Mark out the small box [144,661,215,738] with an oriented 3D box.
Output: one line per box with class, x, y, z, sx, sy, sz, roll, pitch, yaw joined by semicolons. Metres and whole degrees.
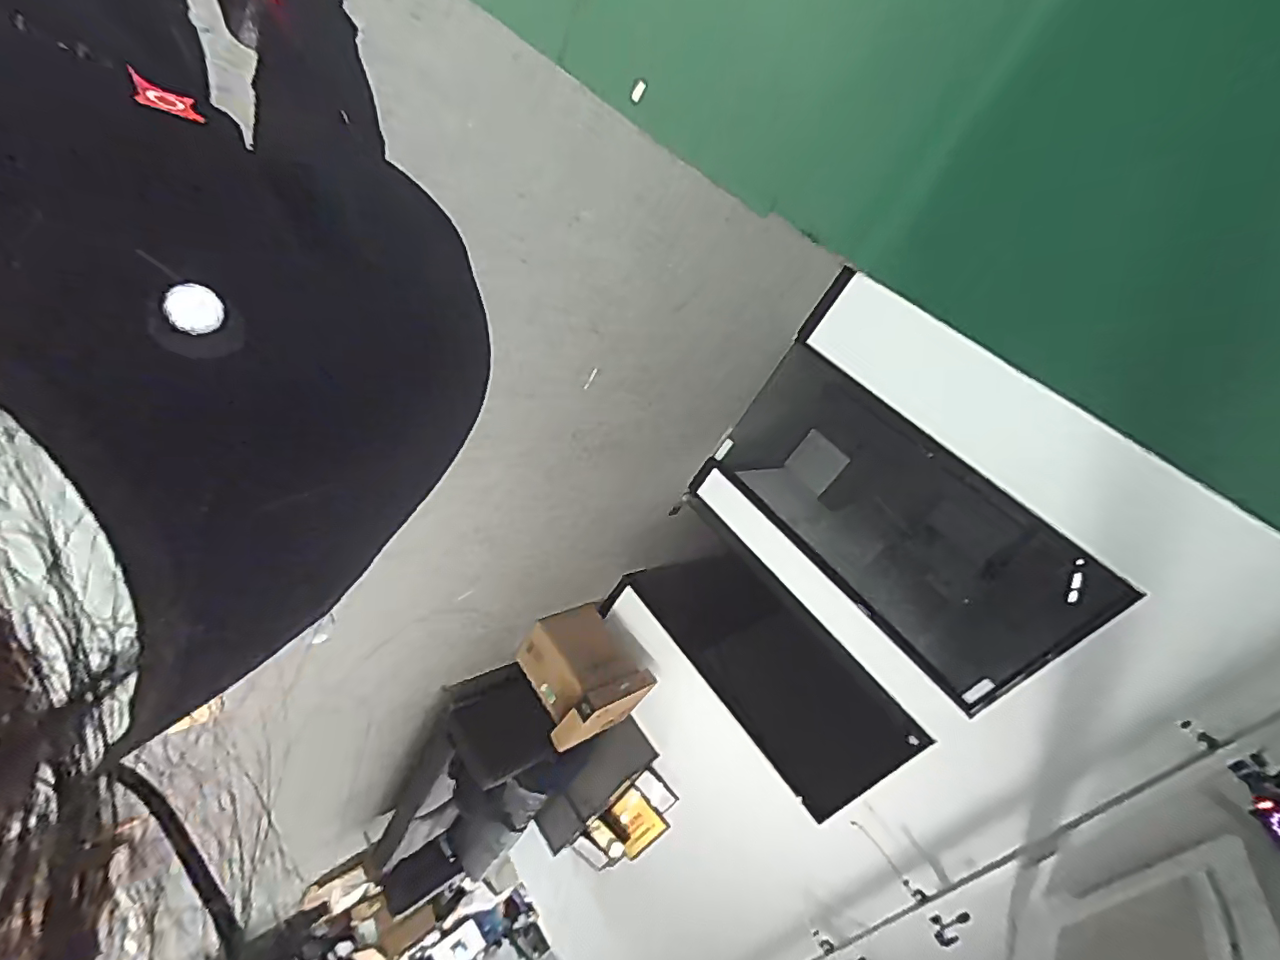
small box;-1.688;0.798;1.978;0.168;0.176;0.179;-7;137;-50
